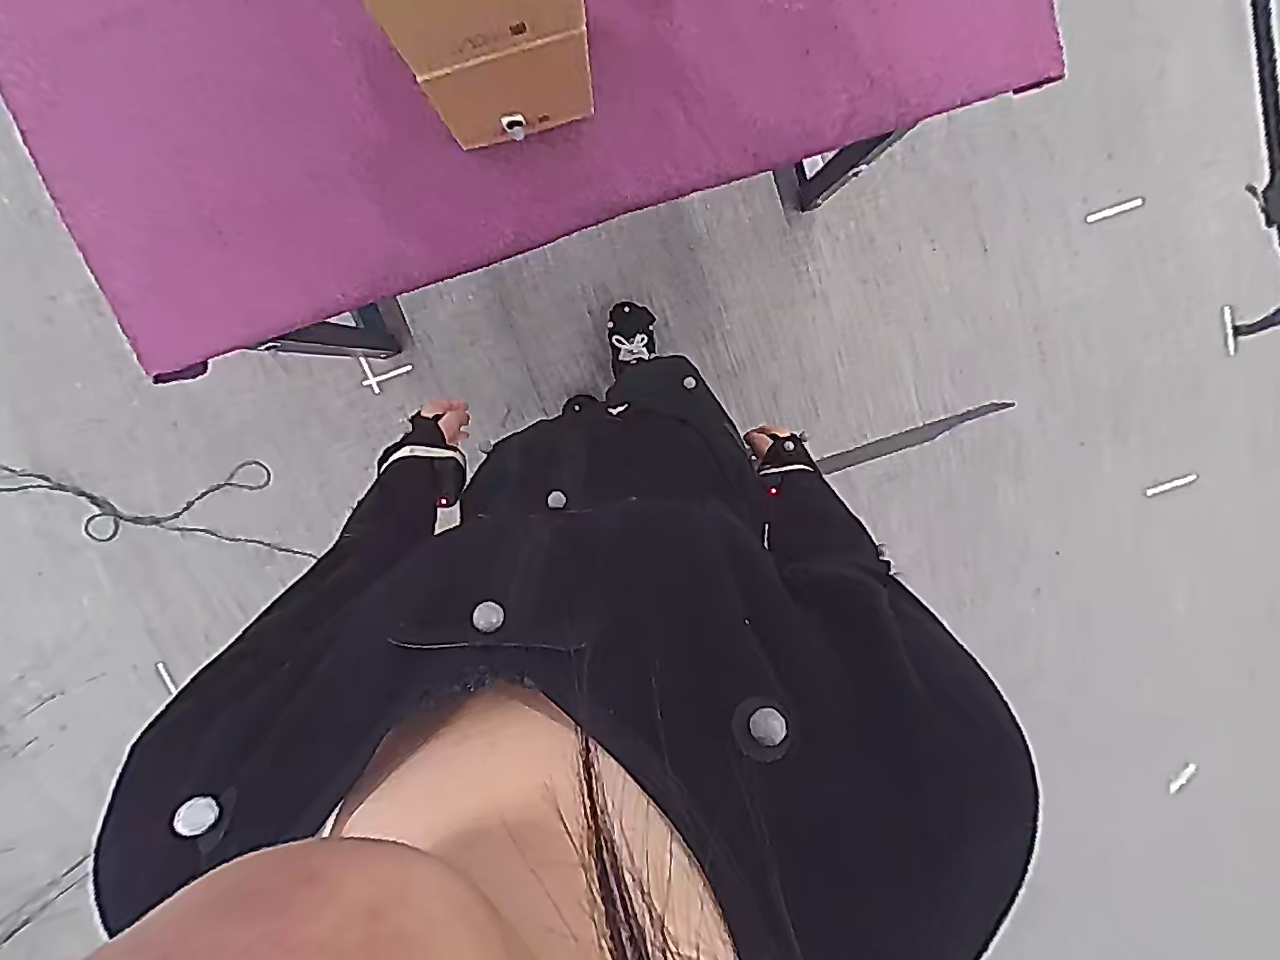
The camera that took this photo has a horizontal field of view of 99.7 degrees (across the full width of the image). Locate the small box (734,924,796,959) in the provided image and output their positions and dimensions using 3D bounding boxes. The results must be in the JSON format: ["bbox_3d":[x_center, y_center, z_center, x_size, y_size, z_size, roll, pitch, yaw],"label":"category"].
[{"bbox_3d":[0.411,1.550,1.681,0.168,0.176,0.179,-25,101,0],"label":"small box"}]

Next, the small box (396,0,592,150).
[{"bbox_3d":[-0.152,-0.487,0.562,0.168,0.176,0.179,-16,101,1],"label":"small box"}]
